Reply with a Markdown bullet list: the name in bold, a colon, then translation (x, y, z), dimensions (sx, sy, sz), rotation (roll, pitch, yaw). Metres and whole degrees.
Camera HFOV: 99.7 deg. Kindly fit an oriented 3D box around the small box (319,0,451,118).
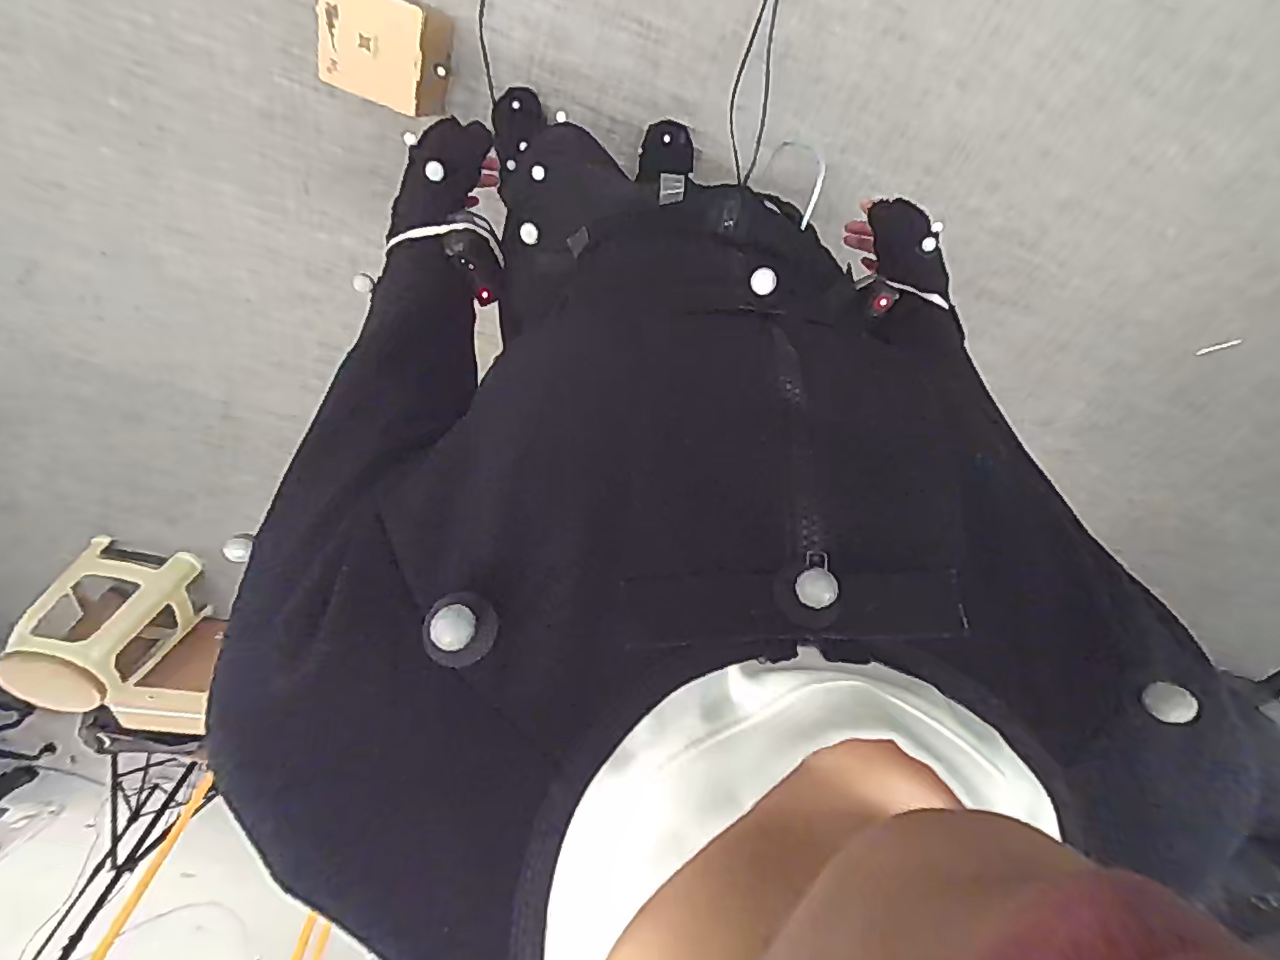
- **small box**: translation (-0.471, -0.810, 1.012), dimensions (0.179, 0.176, 0.168), rotation (17, 125, -11)
